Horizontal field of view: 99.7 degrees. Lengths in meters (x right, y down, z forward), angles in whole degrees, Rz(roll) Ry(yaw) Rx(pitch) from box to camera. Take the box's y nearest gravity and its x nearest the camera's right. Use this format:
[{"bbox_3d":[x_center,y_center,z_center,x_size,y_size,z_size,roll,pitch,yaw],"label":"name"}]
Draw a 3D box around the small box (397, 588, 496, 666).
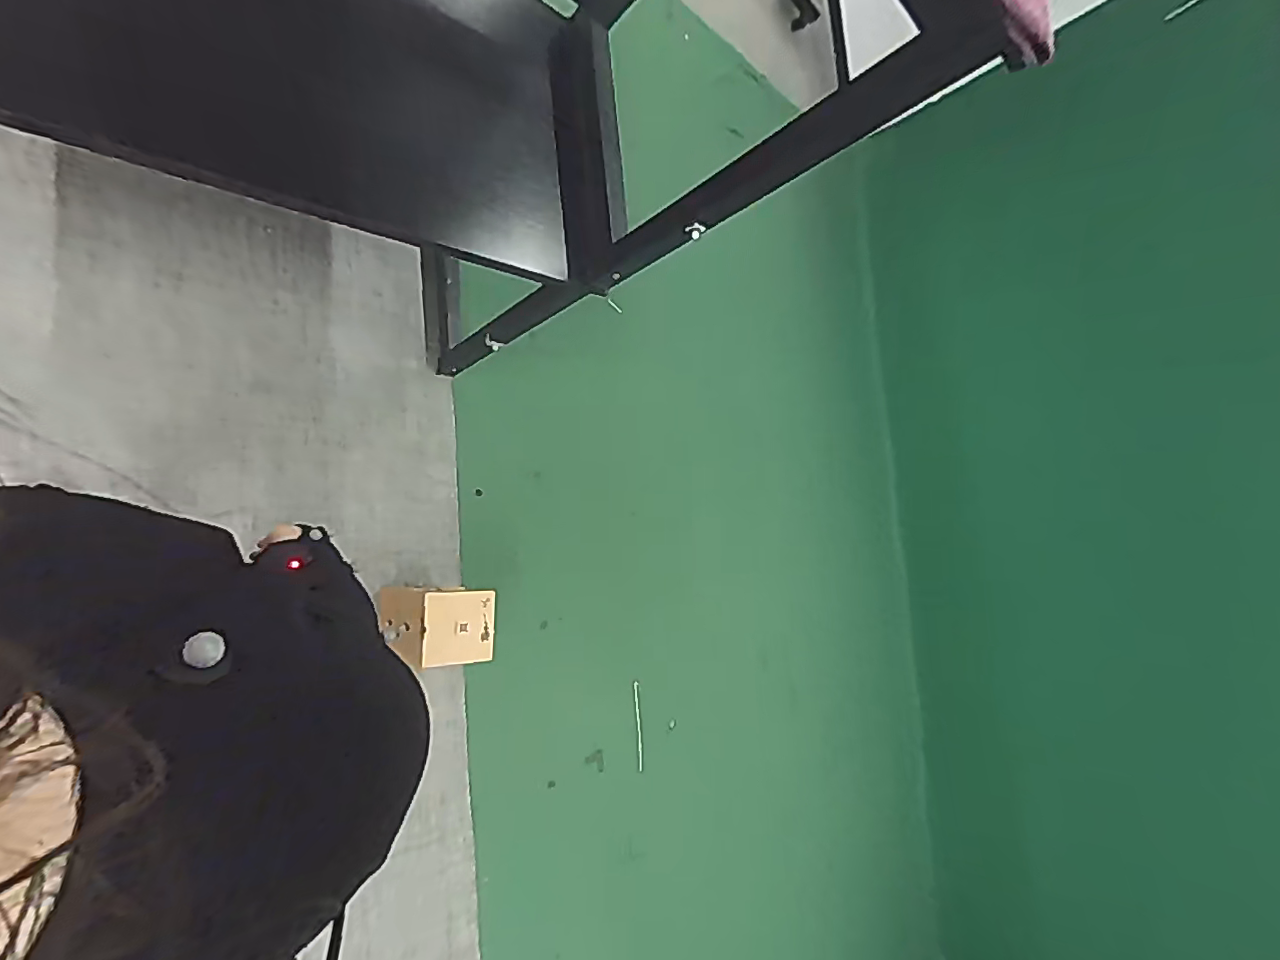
[{"bbox_3d":[-0.466,0.347,1.298,0.179,0.176,0.168,9,76,-42],"label":"small box"}]
